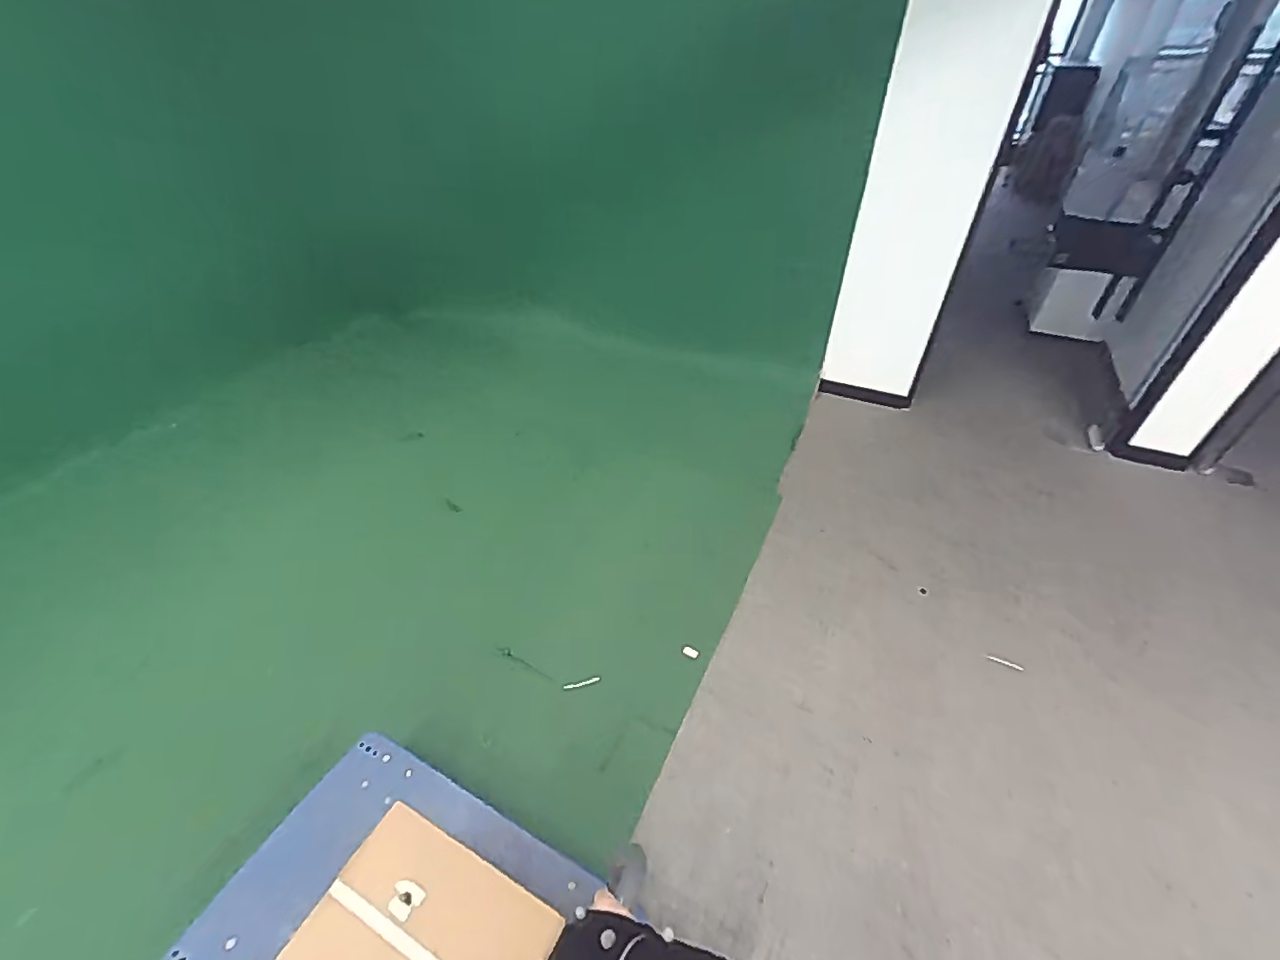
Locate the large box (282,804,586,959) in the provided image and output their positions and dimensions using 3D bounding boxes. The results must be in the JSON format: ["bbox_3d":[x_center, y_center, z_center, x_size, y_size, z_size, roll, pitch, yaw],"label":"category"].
[{"bbox_3d":[-0.358,0.894,0.997,0.408,0.320,0.320,19,46,22],"label":"large box"}]
